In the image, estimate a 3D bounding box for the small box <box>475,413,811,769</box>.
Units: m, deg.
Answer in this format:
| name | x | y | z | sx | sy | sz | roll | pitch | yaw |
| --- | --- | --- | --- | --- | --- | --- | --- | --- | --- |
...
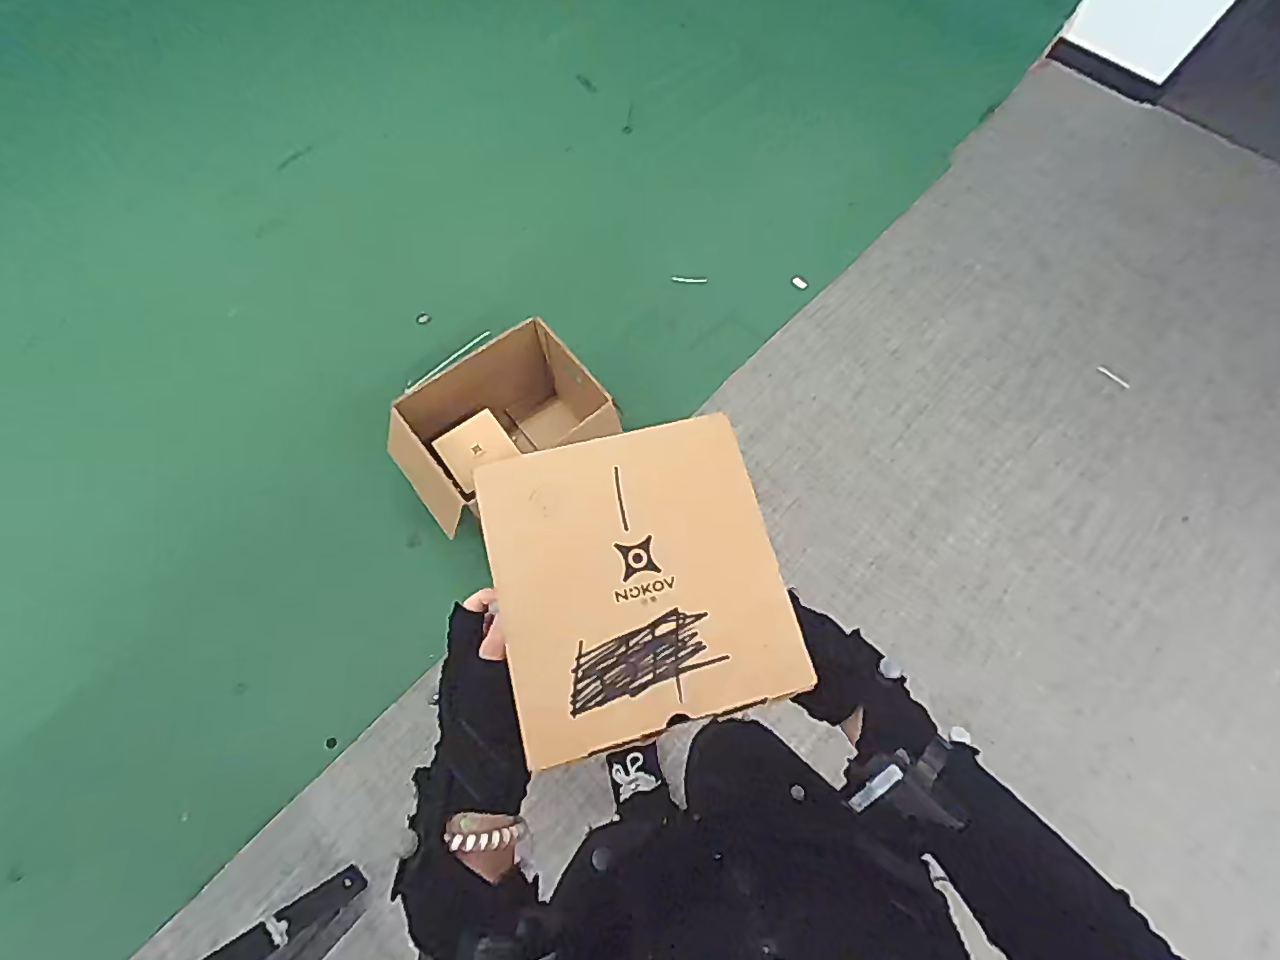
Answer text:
| name | x | y | z | sx | sy | sz | roll | pitch | yaw |
| --- | --- | --- | --- | --- | --- | --- | --- | --- | --- |
| small box | -0.008 | 0.076 | 0.390 | 0.168 | 0.176 | 0.179 | -13 | 75 | -10 |
